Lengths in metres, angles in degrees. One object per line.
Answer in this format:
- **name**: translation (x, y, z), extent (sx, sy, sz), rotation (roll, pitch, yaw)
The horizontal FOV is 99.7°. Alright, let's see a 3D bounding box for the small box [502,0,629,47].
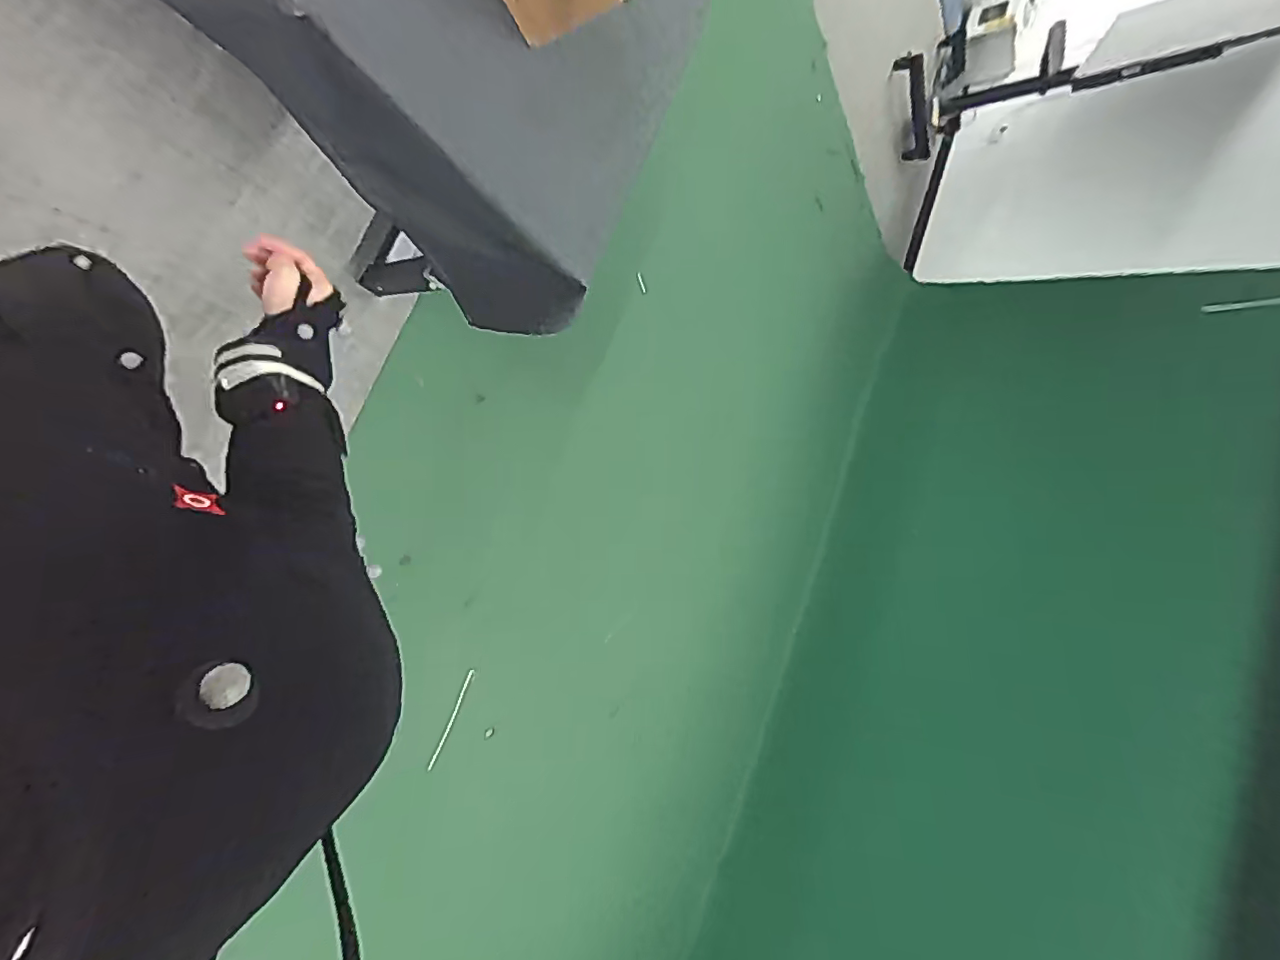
- **small box**: translation (-0.081, -0.665, 0.635), extent (0.168, 0.176, 0.179), rotation (48, 64, -45)
